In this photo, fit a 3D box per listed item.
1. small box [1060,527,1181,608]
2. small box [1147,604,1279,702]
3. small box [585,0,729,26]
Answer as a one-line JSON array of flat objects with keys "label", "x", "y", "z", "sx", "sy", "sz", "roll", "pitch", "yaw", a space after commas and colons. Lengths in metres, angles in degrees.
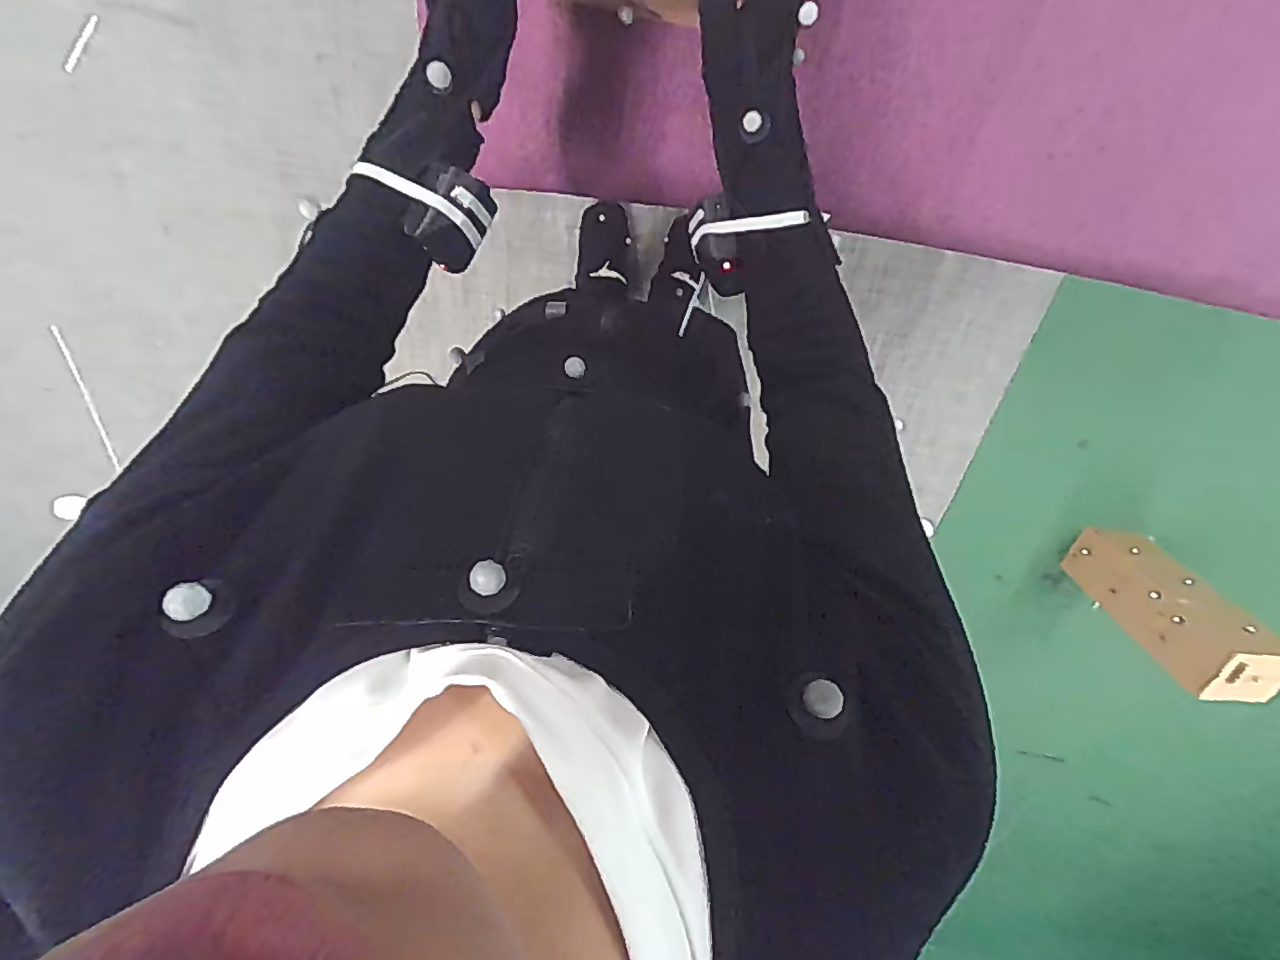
[{"label": "small box", "x": 1.441, "y": 0.259, "z": 1.635, "sx": 0.179, "sy": 0.176, "sz": 0.168, "roll": 8, "pitch": 121, "yaw": -3}, {"label": "small box", "x": 1.446, "y": 0.428, "z": 1.352, "sx": 0.179, "sy": 0.176, "sz": 0.168, "roll": 3, "pitch": 121, "yaw": -1}, {"label": "small box", "x": 0.007, "y": -0.476, "z": 0.396, "sx": 0.168, "sy": 0.176, "sz": 0.179, "roll": 9, "pitch": 120, "yaw": -3}]
